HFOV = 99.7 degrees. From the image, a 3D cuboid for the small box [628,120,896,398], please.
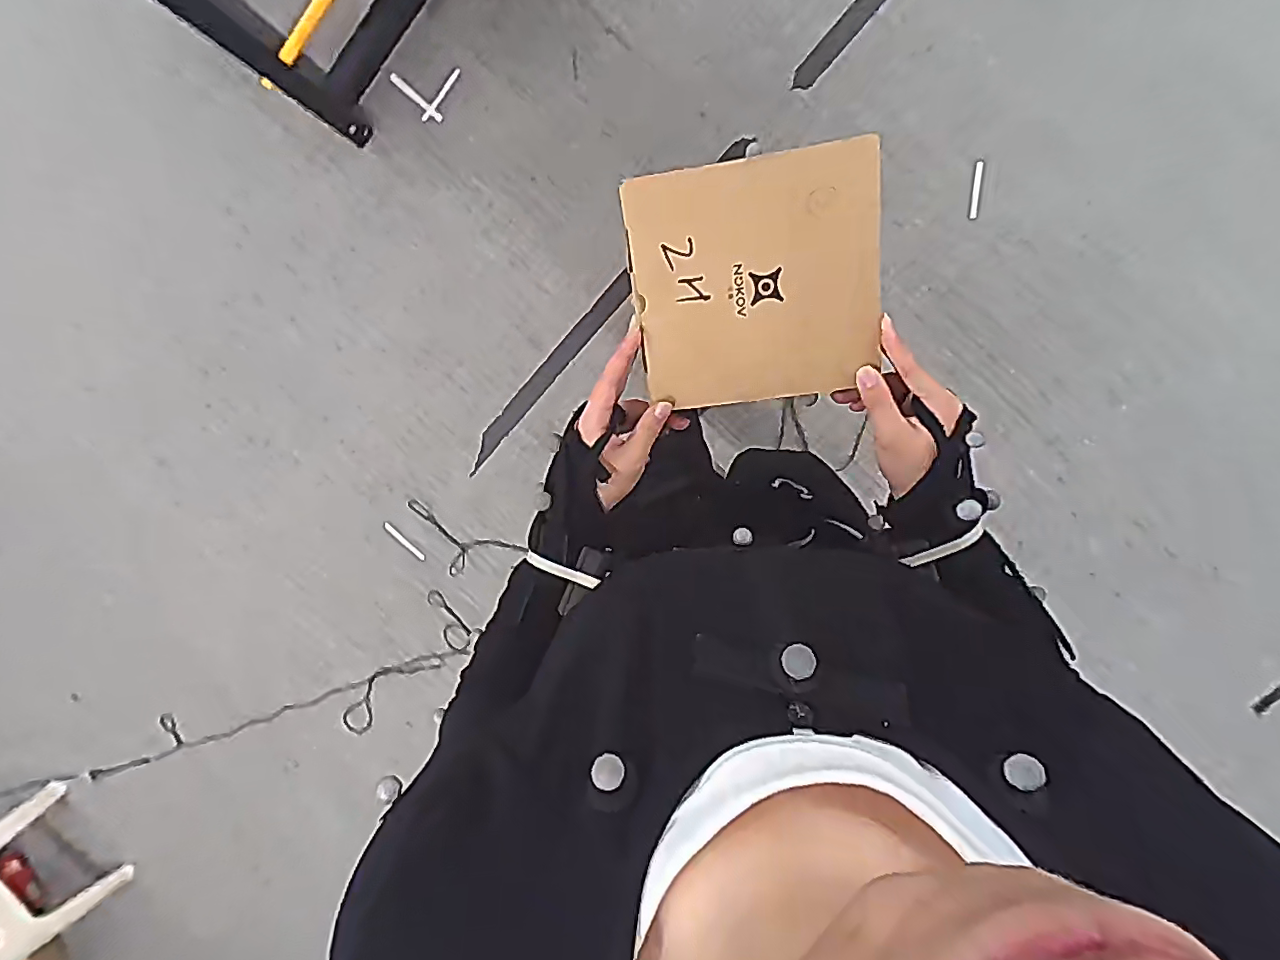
[{"bbox_3d":[0.094,-0.173,0.453,0.179,0.176,0.168,-5,108,9],"label":"small box"}]
